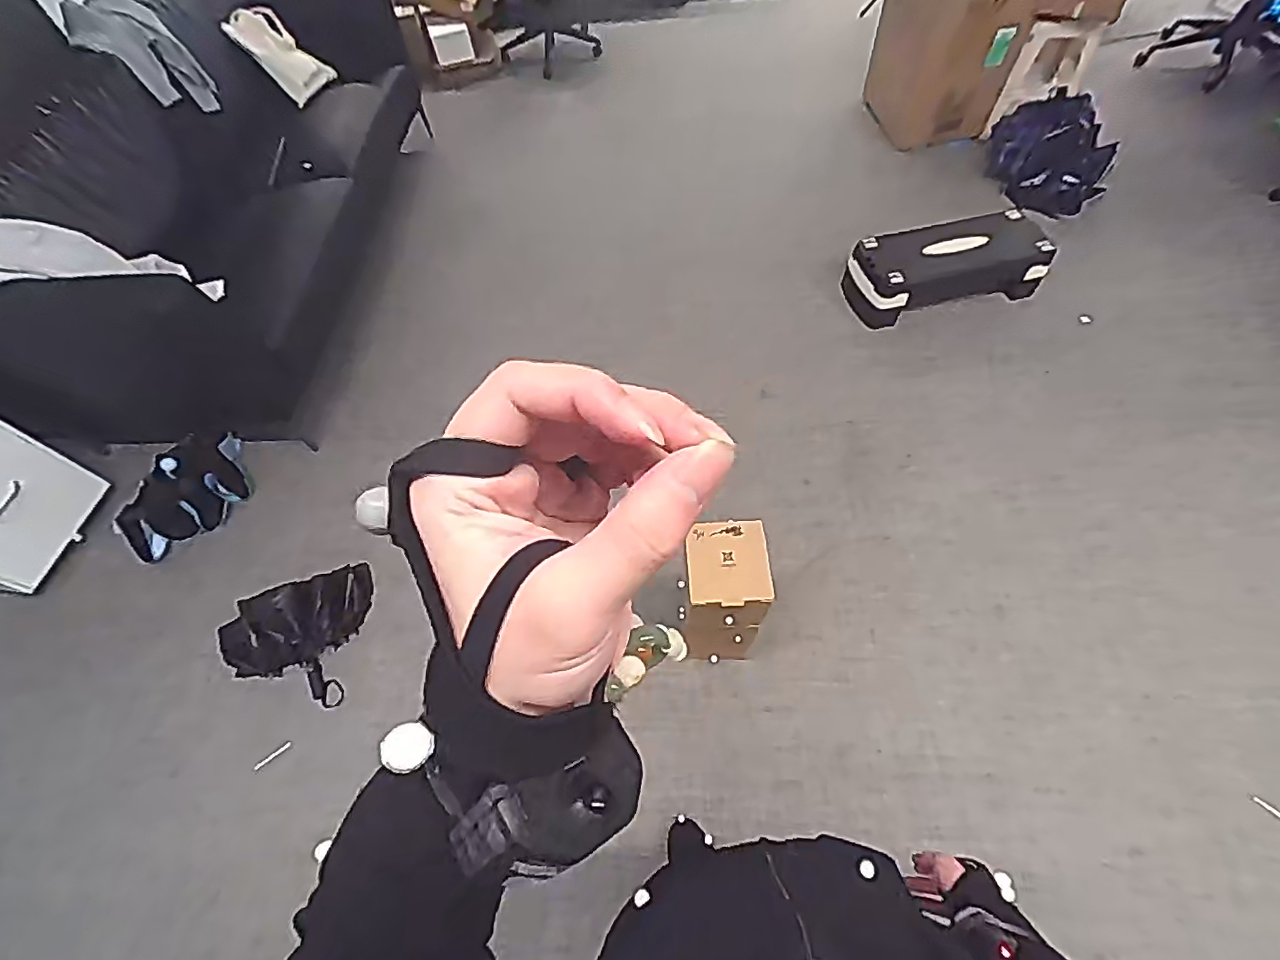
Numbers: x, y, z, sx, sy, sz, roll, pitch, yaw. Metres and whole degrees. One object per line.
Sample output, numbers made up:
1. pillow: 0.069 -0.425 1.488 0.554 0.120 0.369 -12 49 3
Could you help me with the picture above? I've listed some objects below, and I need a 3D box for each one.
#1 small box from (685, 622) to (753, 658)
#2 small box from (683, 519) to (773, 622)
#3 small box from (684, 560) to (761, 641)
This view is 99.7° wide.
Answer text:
1. small box: 0.203 0.363 1.430 0.168 0.176 0.179 -2 60 4
2. small box: 0.181 0.199 1.150 0.168 0.176 0.179 -4 60 2
3. small box: 0.191 0.281 1.291 0.168 0.176 0.179 -2 58 3
